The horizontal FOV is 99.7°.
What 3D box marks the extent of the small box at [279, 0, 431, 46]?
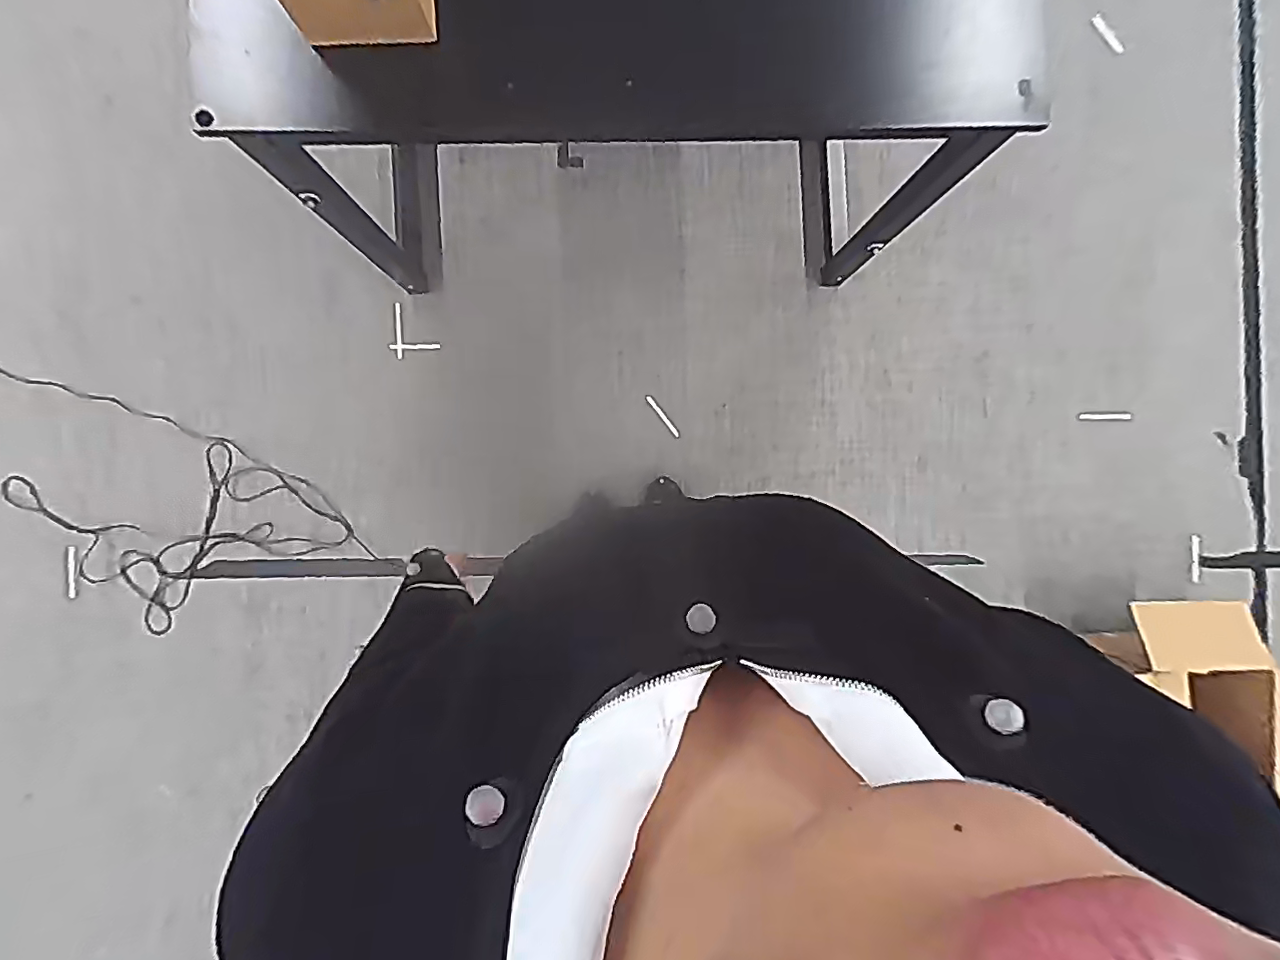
[{"bbox_3d":[-0.370,-0.683,0.669,0.179,0.176,0.168,-4,90,-2],"label":"small box"}]
